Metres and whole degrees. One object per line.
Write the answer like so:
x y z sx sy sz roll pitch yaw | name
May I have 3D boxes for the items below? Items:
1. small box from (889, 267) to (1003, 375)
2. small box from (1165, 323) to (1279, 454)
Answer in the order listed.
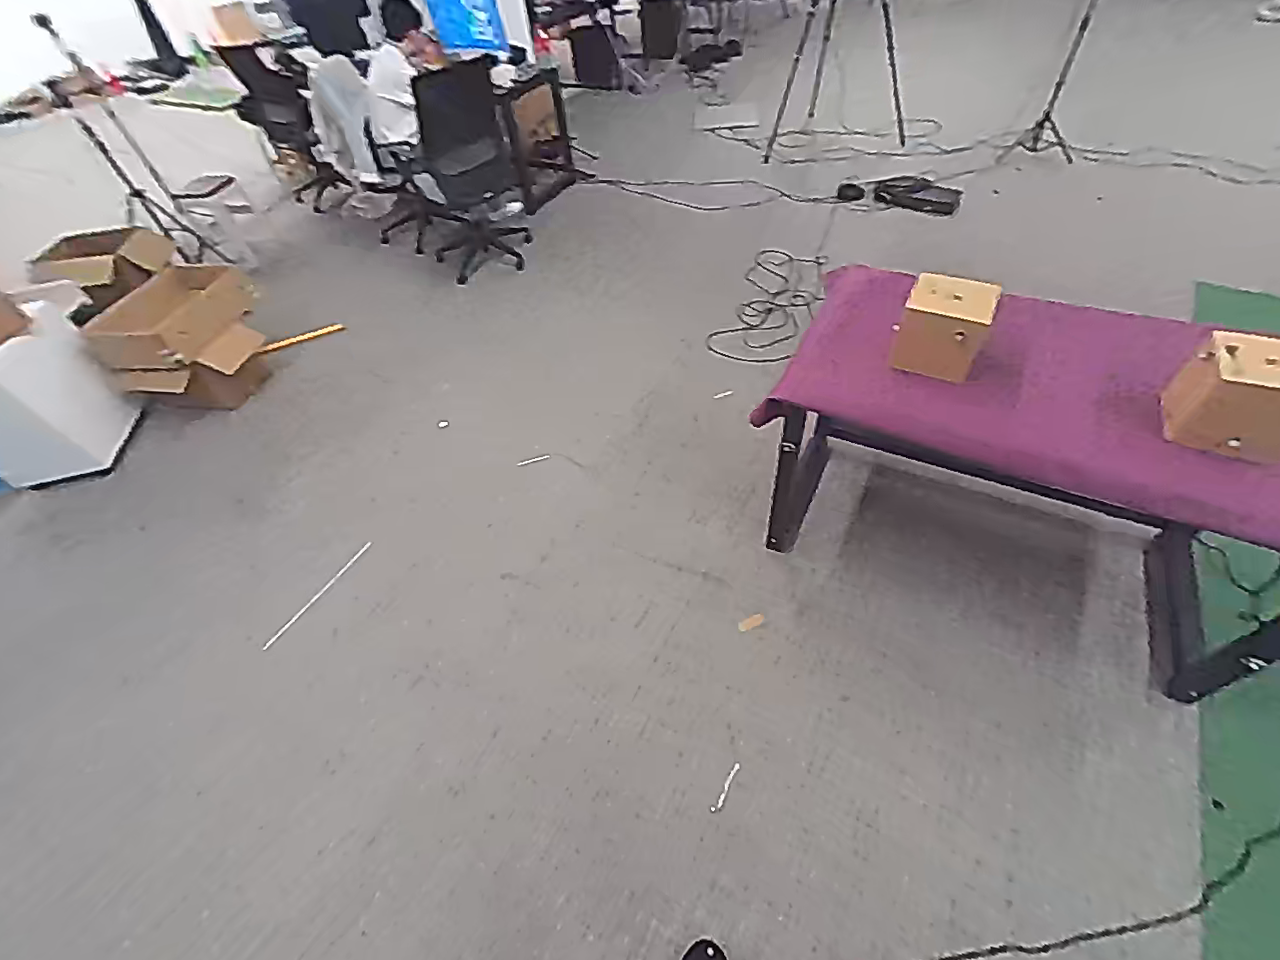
0.718 -0.373 1.281 0.179 0.176 0.168 21 56 23 | small box
1.181 -0.174 1.049 0.179 0.176 0.168 20 55 22 | small box
